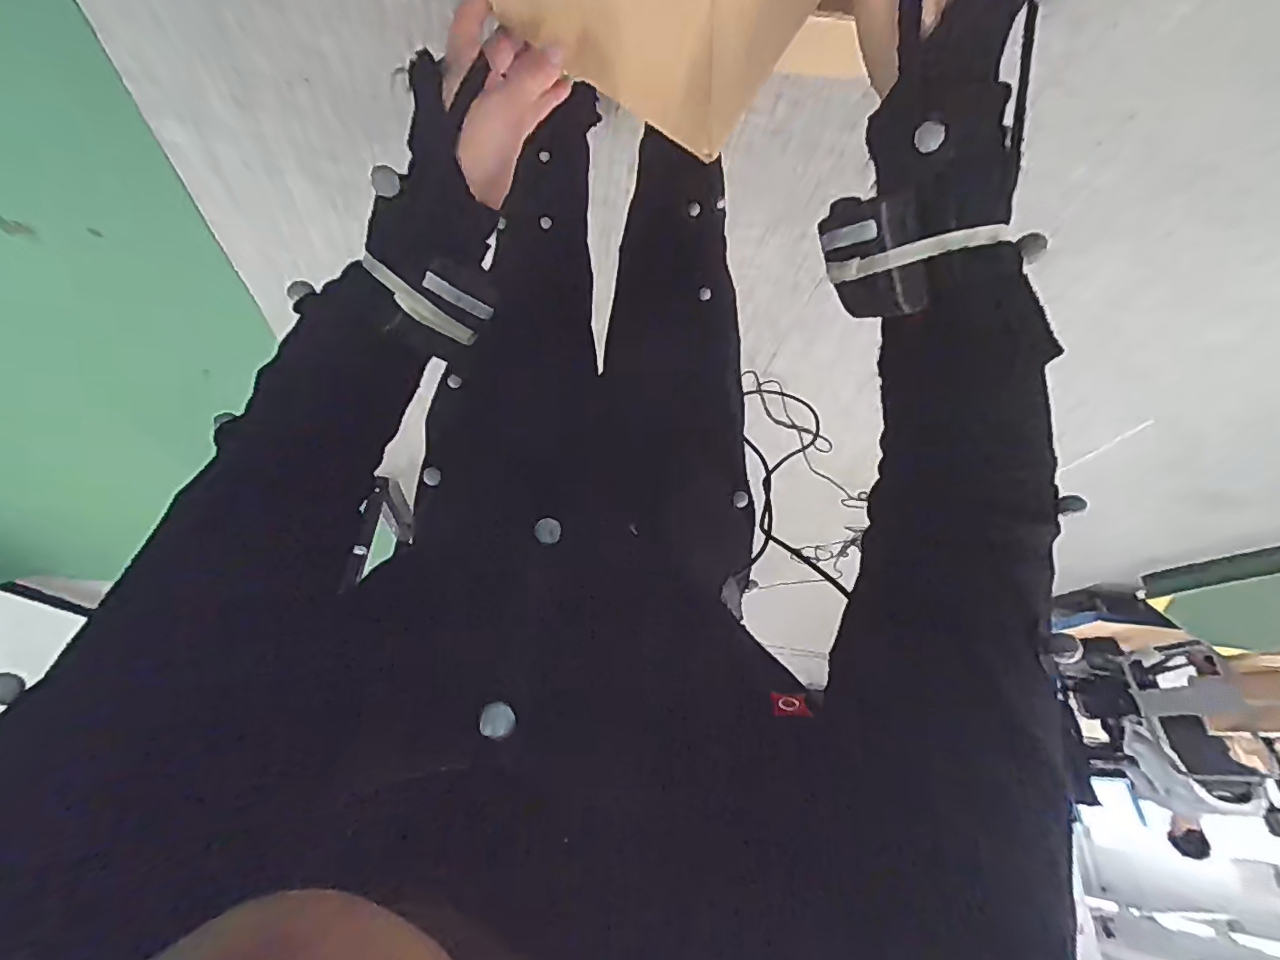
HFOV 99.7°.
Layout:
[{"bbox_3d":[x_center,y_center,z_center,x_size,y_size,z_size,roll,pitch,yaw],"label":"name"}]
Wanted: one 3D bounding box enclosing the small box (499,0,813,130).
[{"bbox_3d":[0.032,-0.347,0.311,0.168,0.176,0.179,24,155,-17],"label":"small box"}]
